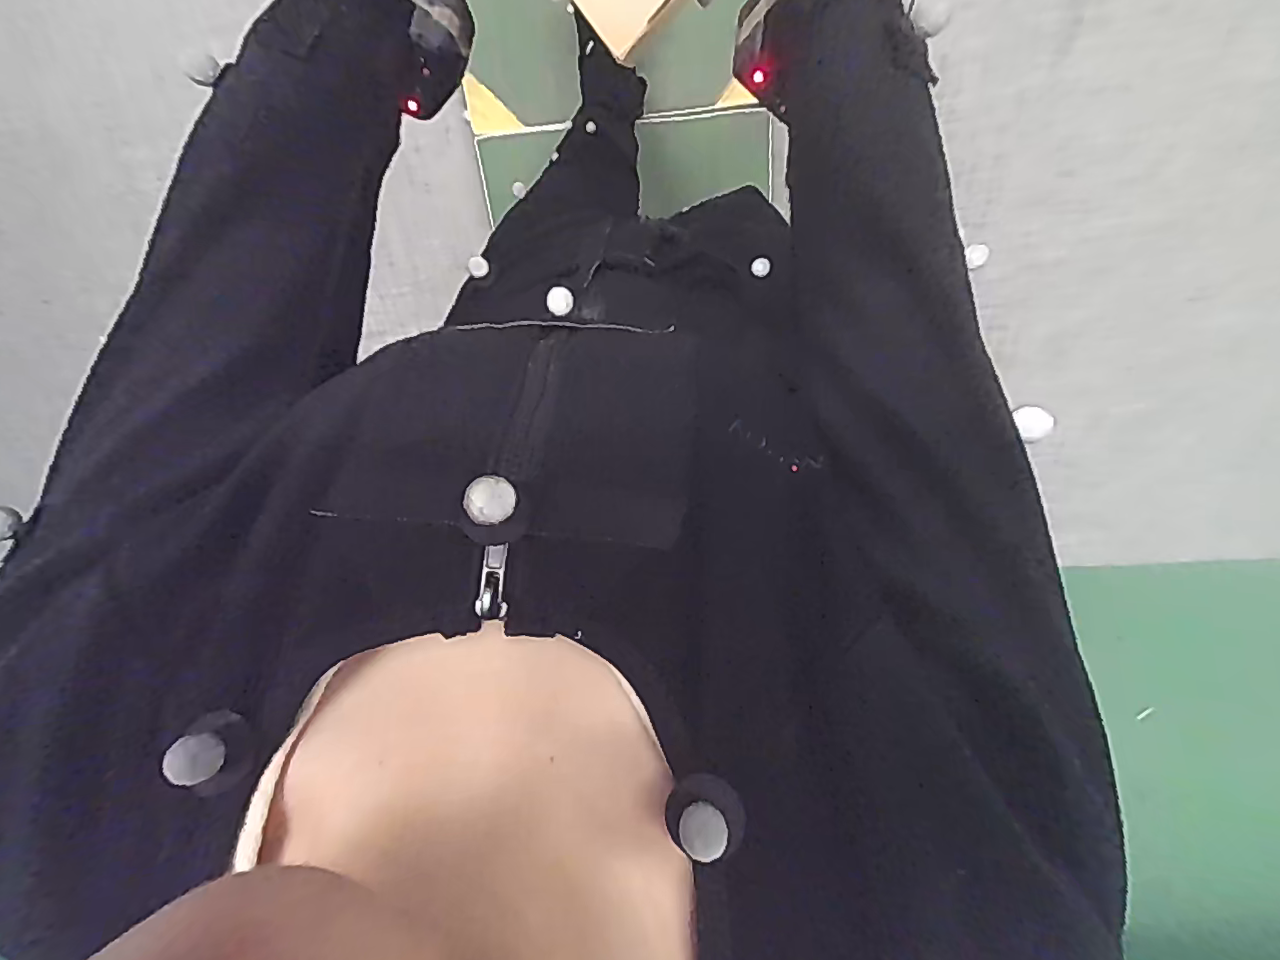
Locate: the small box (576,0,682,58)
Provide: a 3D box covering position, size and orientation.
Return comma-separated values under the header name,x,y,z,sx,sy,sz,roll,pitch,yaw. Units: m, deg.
name,x,y,z,sx,sy,sz,roll,pitch,yaw
small box,-0.010,-0.463,0.403,0.168,0.176,0.179,-36,117,25
